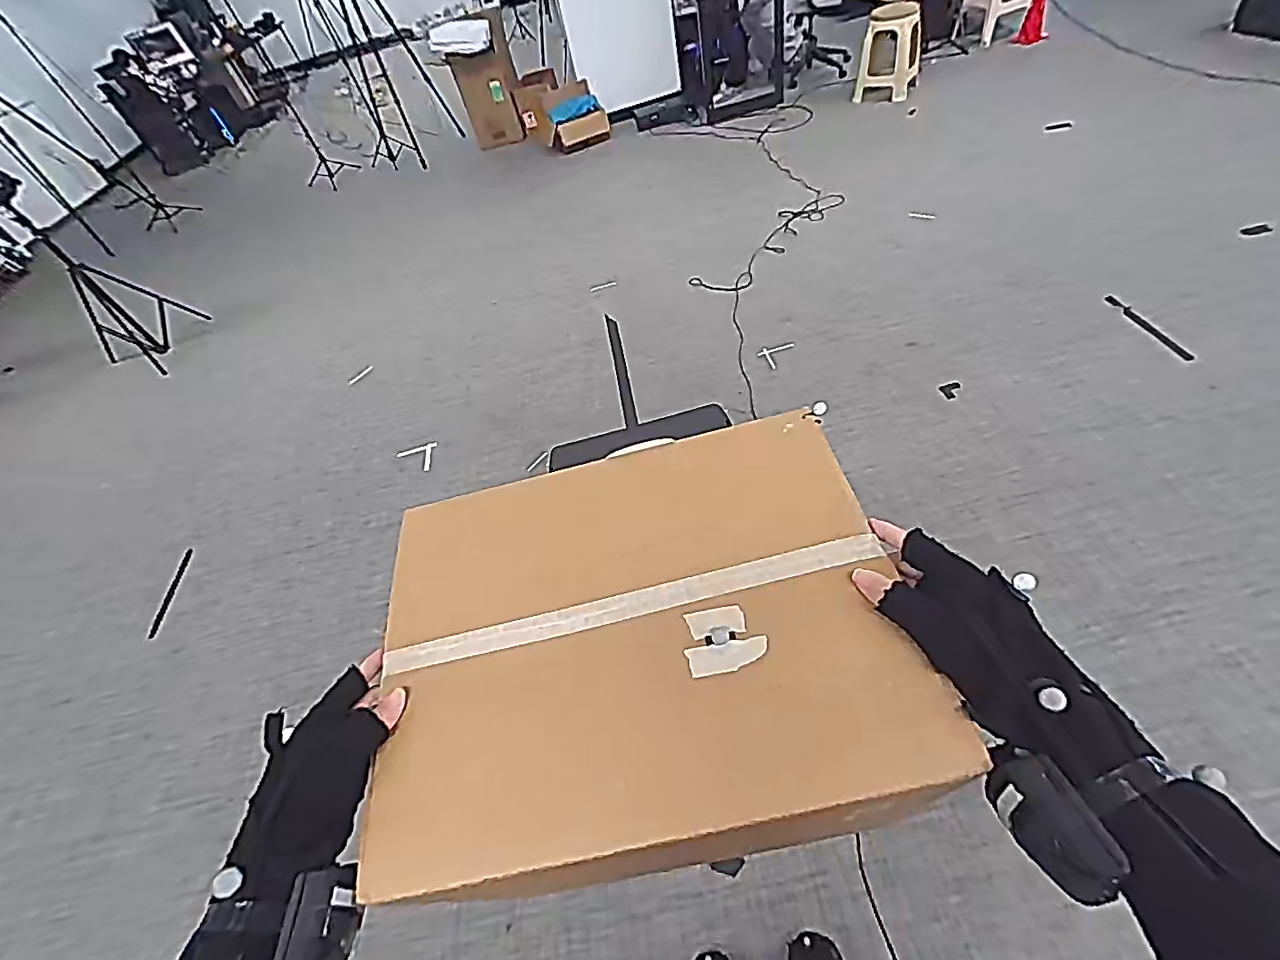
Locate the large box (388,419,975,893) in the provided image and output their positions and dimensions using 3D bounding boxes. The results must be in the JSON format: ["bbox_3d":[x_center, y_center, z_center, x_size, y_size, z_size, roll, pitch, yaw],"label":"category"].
[{"bbox_3d":[0.024,0.194,0.557,0.408,0.320,0.320,-14,52,3],"label":"large box"}]
